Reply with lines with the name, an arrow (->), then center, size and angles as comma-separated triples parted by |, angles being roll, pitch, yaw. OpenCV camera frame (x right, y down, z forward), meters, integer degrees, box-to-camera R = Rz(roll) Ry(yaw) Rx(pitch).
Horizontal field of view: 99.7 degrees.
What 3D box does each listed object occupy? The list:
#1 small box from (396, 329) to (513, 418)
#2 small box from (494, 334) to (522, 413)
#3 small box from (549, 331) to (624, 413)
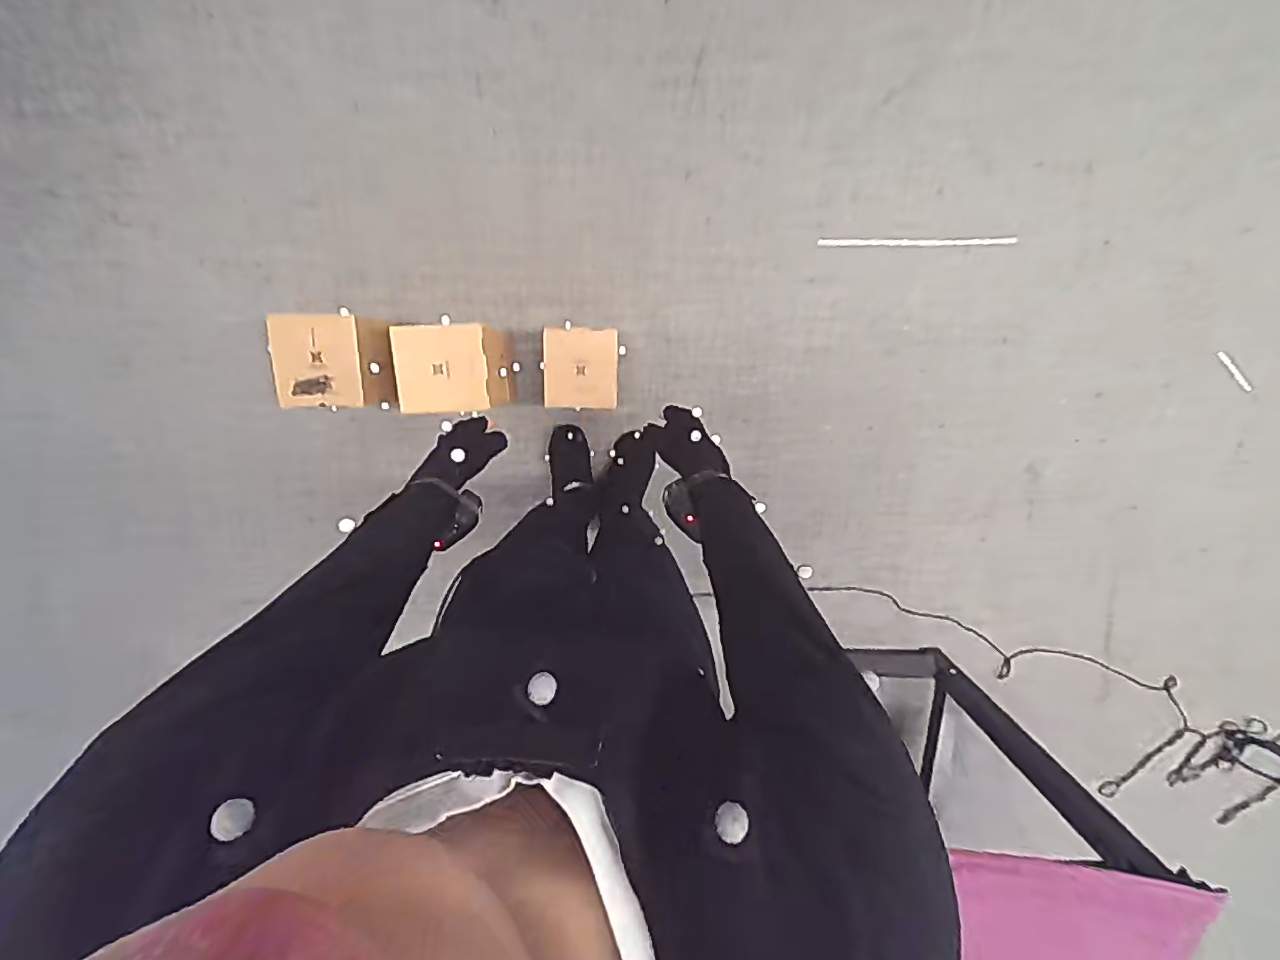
small box -> -0.372, -0.219, 1.113 | 0.179, 0.176, 0.168 | -3, 103, -1
small box -> -0.379, -0.249, 1.273 | 0.168, 0.176, 0.179 | -2, 102, 1
small box -> -0.123, -0.255, 1.278 | 0.168, 0.176, 0.179 | 1, 103, -1
